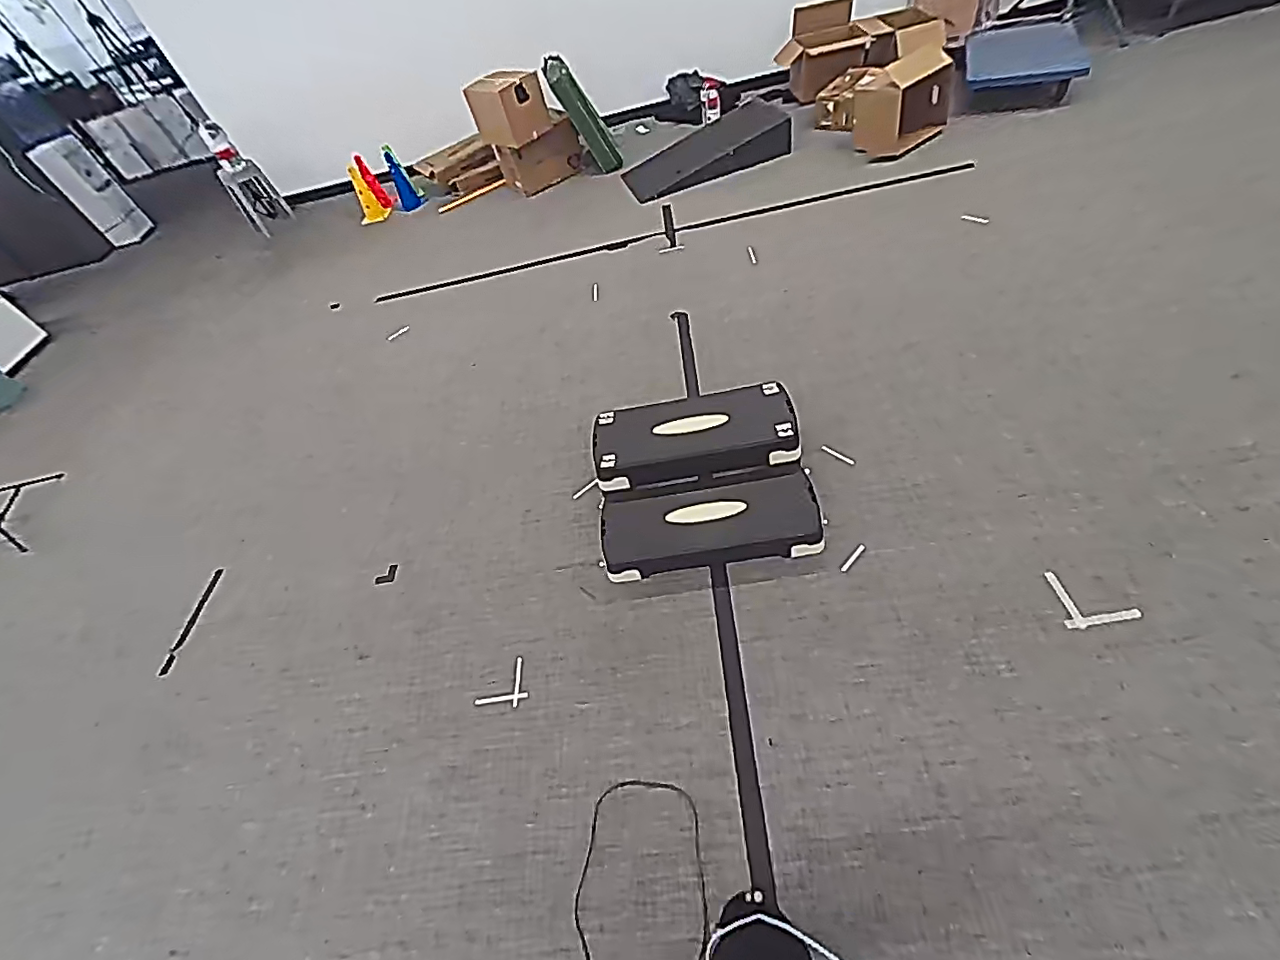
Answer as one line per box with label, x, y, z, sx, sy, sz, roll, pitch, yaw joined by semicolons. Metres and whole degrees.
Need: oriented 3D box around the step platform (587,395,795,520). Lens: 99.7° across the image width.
step platform;0.164;-0.079;1.824;0.684;0.204;0.286;-10;50;6
